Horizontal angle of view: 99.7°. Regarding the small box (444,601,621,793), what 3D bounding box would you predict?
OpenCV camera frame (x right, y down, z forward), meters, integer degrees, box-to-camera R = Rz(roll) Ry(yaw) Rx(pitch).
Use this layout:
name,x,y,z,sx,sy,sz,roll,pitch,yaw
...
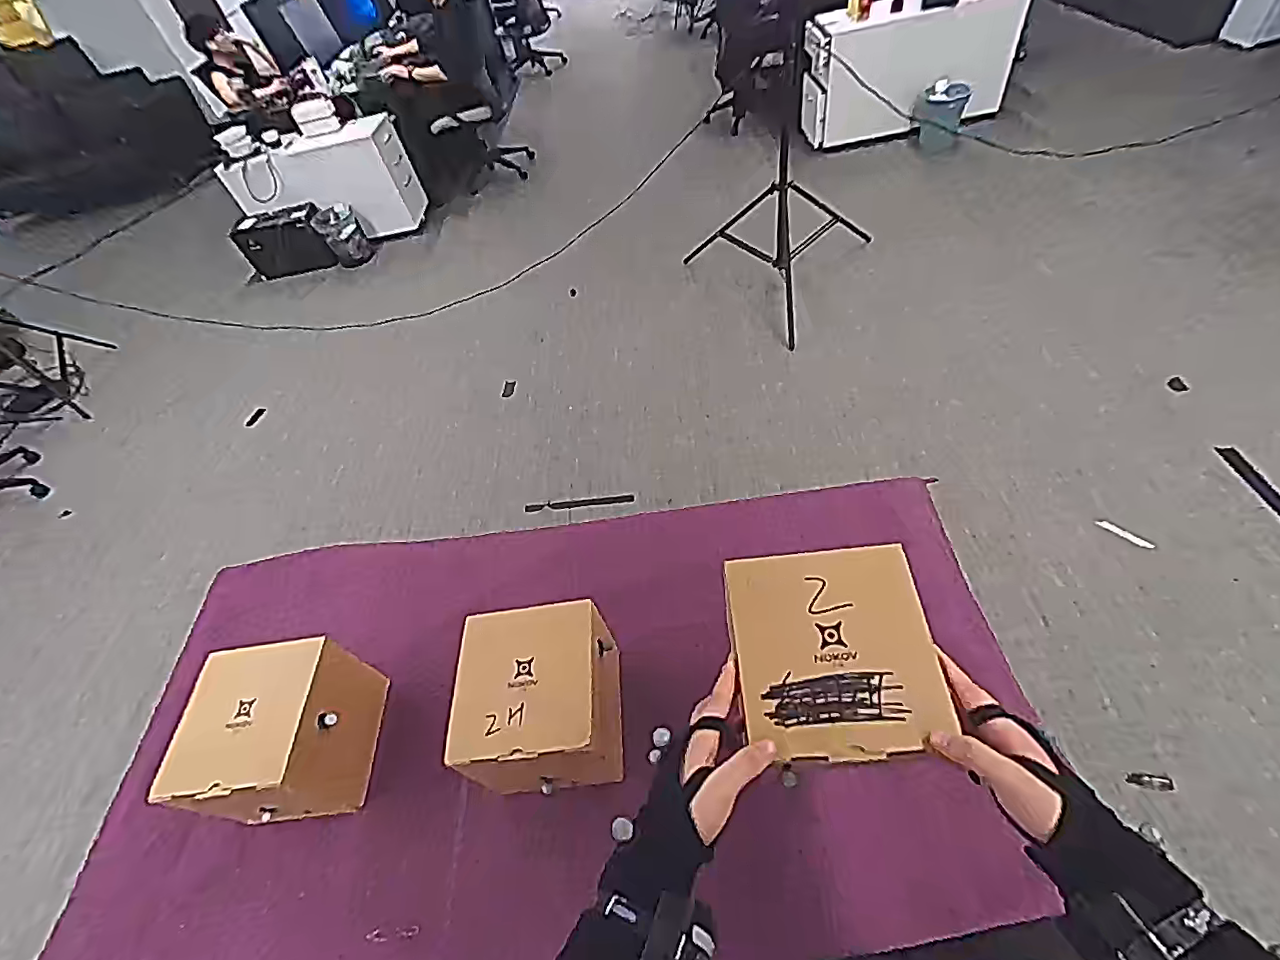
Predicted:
name,x,y,z,sx,sy,sz,roll,pitch,yaw
small box,-0.121,0.278,0.685,0.168,0.176,0.179,-9,50,6

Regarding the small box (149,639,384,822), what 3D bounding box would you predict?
name,x,y,z,sx,sy,sz,roll,pitch,yaw
small box,-0.469,0.335,0.718,0.168,0.176,0.179,-9,51,4
